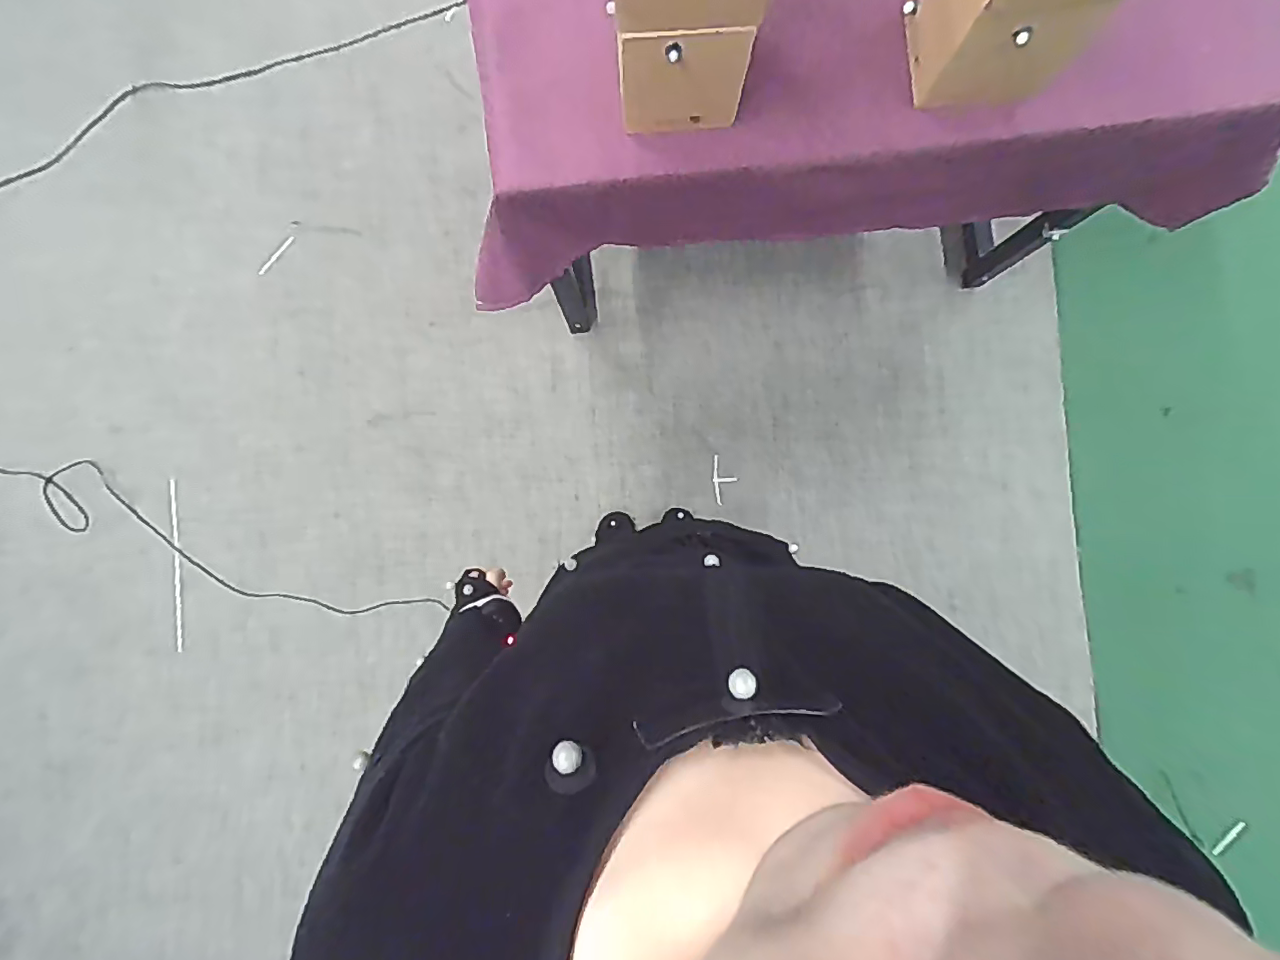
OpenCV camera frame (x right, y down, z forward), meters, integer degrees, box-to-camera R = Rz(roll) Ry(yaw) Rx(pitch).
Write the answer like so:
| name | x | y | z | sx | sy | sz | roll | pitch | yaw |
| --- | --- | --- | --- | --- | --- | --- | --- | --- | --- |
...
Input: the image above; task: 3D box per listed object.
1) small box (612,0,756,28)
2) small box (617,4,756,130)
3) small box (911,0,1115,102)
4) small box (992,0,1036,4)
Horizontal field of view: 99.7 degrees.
| name | x | y | z | sx | sy | sz | roll | pitch | yaw |
| --- | --- | --- | --- | --- | --- | --- | --- | --- | --- |
| small box | 0.053 | -0.621 | 0.564 | 0.179 | 0.176 | 0.168 | -3 | 87 | 1 |
| small box | 0.053 | -0.614 | 0.727 | 0.168 | 0.176 | 0.179 | -4 | 87 | 1 |
| small box | 0.488 | -0.647 | 0.727 | 0.179 | 0.176 | 0.168 | -5 | 88 | -1 |
| small box | 0.491 | -0.653 | 0.565 | 0.179 | 0.176 | 0.168 | -5 | 88 | 1 |
